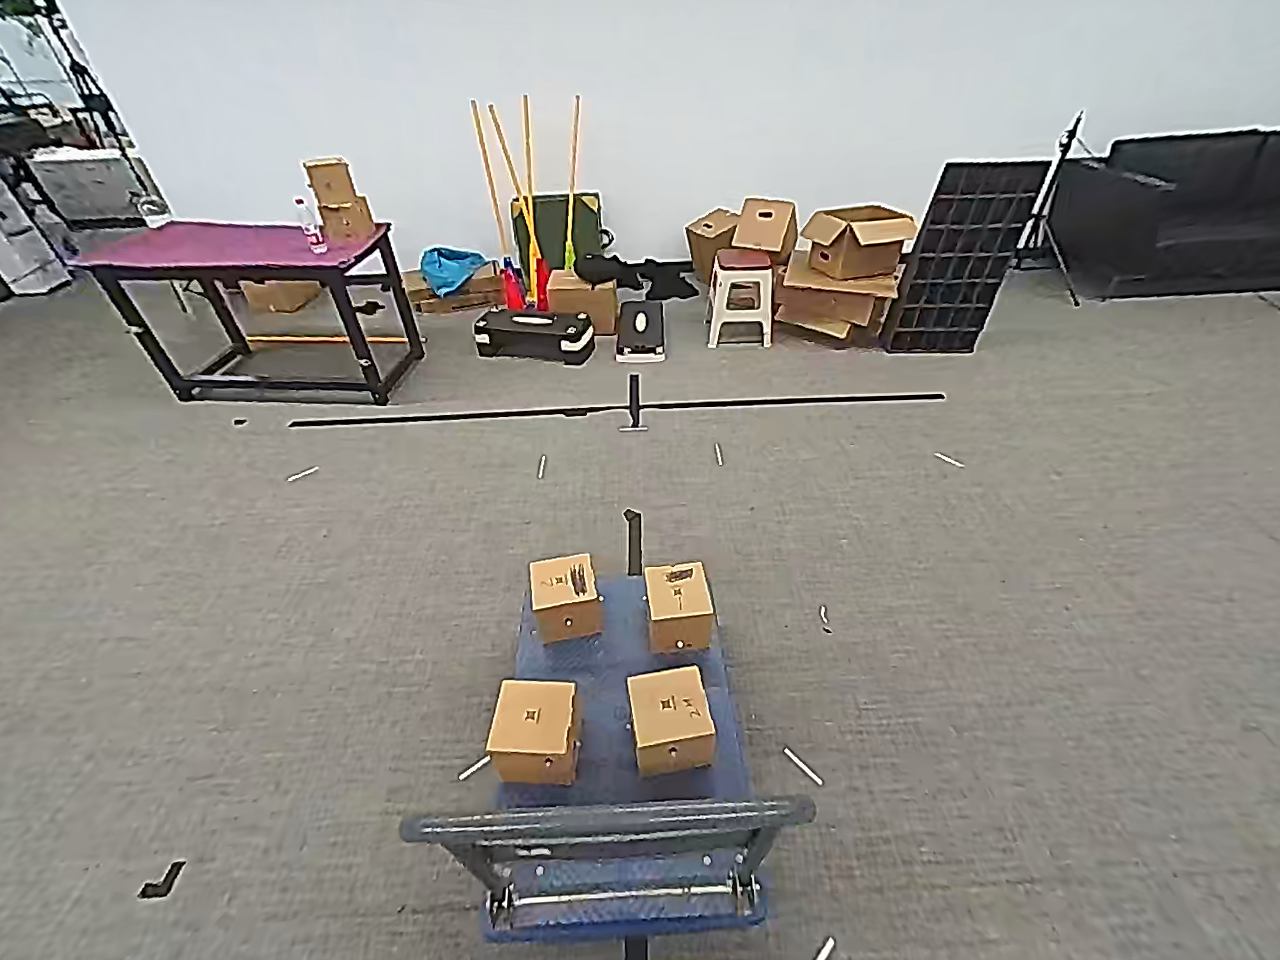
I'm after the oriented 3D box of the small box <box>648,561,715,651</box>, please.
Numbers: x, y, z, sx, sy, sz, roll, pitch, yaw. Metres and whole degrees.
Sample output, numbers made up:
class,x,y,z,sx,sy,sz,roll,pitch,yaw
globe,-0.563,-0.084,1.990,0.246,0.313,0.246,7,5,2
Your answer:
class,x,y,z,sx,sy,sz,roll,pitch,yaw
small box,0.109,0.352,1.512,0.168,0.176,0.179,-5,43,-3

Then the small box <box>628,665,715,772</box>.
class,x,y,z,sx,sy,sz,roll,pitch,yaw
small box,0.071,0.564,1.274,0.179,0.176,0.168,-7,42,-5

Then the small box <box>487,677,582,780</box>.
class,x,y,z,sx,sy,sz,roll,pitch,yaw
small box,-0.237,0.583,1.267,0.179,0.176,0.168,2,41,2
